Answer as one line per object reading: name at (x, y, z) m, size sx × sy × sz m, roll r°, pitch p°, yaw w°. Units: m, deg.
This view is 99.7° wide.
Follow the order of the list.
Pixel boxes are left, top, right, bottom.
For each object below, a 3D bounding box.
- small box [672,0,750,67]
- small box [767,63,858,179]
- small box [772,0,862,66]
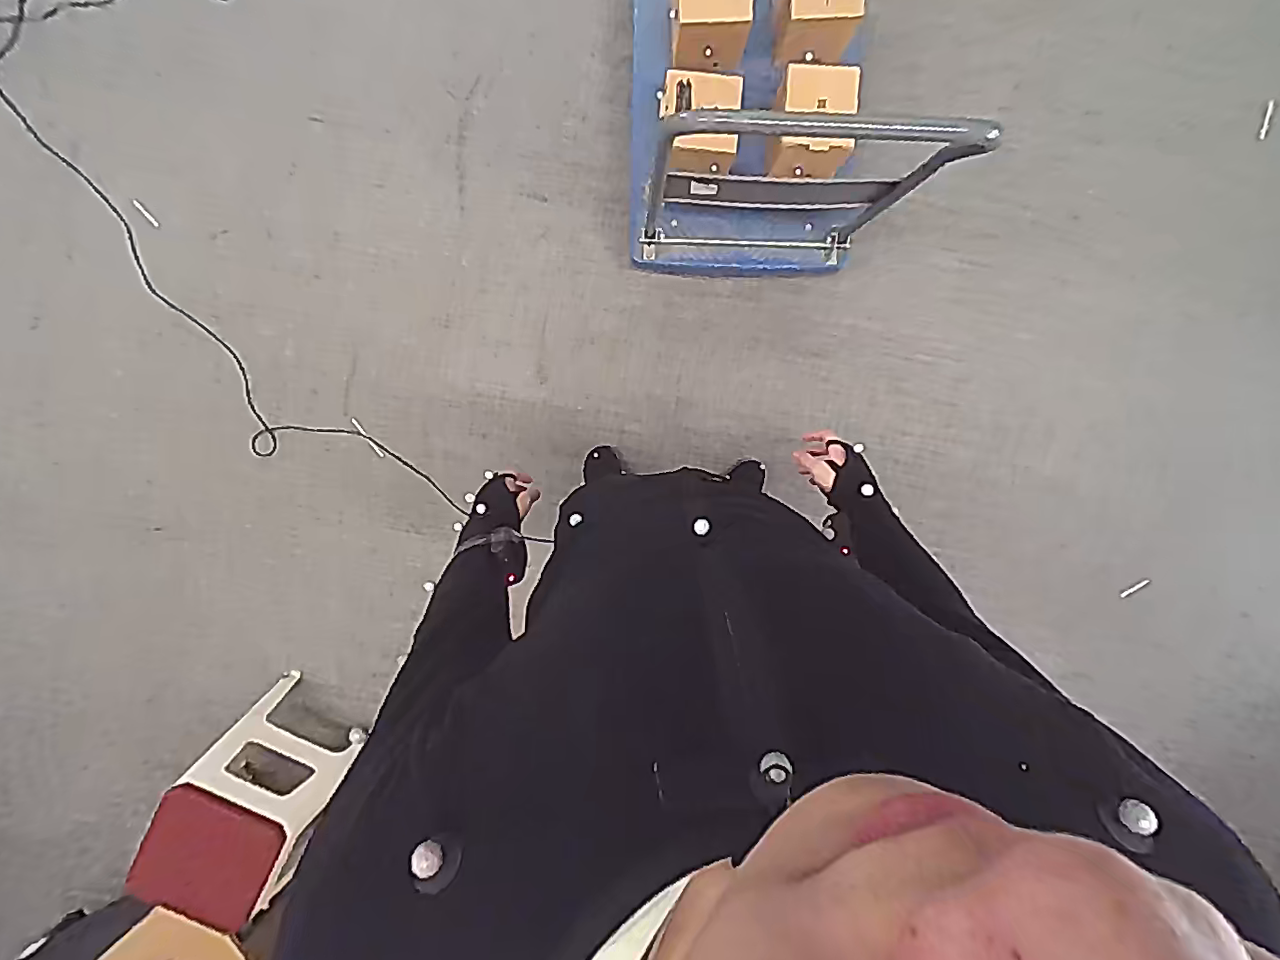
small box at (0.164, -1.122, 1.288) m, size 0.168 × 0.176 × 0.179 m, roll -3°, pitch 96°, yaw -1°
small box at (0.412, -0.866, 1.316) m, size 0.168 × 0.176 × 0.179 m, roll 2°, pitch 96°, yaw -1°
small box at (0.416, -1.135, 1.289) m, size 0.168 × 0.176 × 0.179 m, roll -2°, pitch 96°, yaw 1°
